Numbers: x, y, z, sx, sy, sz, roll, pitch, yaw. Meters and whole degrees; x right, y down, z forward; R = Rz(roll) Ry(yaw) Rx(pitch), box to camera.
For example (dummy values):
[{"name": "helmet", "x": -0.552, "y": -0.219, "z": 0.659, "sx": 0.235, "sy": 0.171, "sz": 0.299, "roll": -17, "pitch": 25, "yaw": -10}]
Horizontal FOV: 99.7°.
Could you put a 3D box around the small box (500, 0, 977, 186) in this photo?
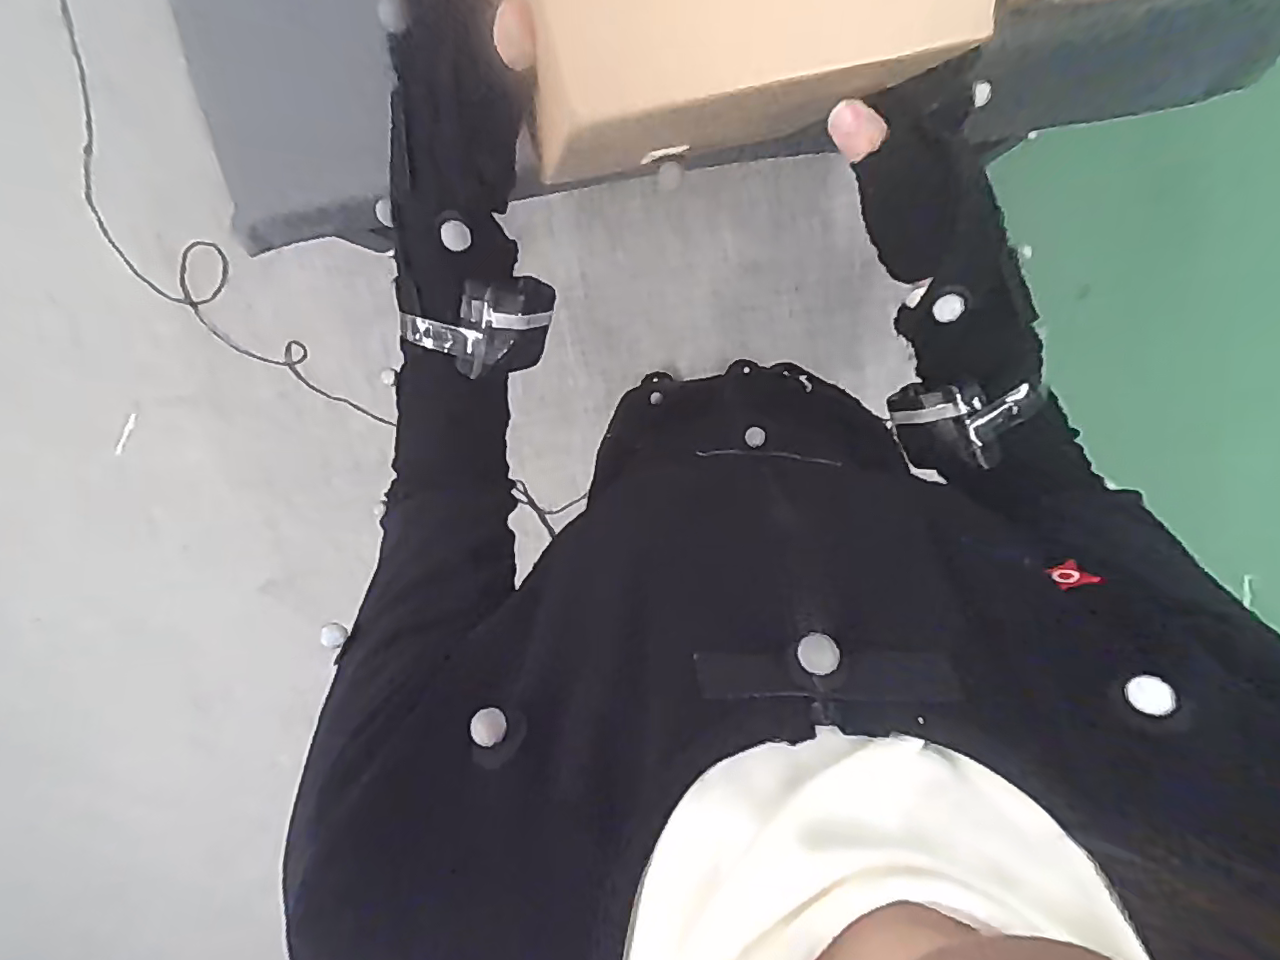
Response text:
[{"name": "small box", "x": 0.018, "y": -0.254, "z": 0.242, "sx": 0.168, "sy": 0.176, "sz": 0.179, "roll": -17, "pitch": 114, "yaw": -6}]

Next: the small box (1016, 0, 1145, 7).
[{"name": "small box", "x": 0.452, "y": -0.565, "z": 0.477, "sx": 0.168, "sy": 0.176, "sz": 0.179, "roll": -2, "pitch": 100, "yaw": 4}]
